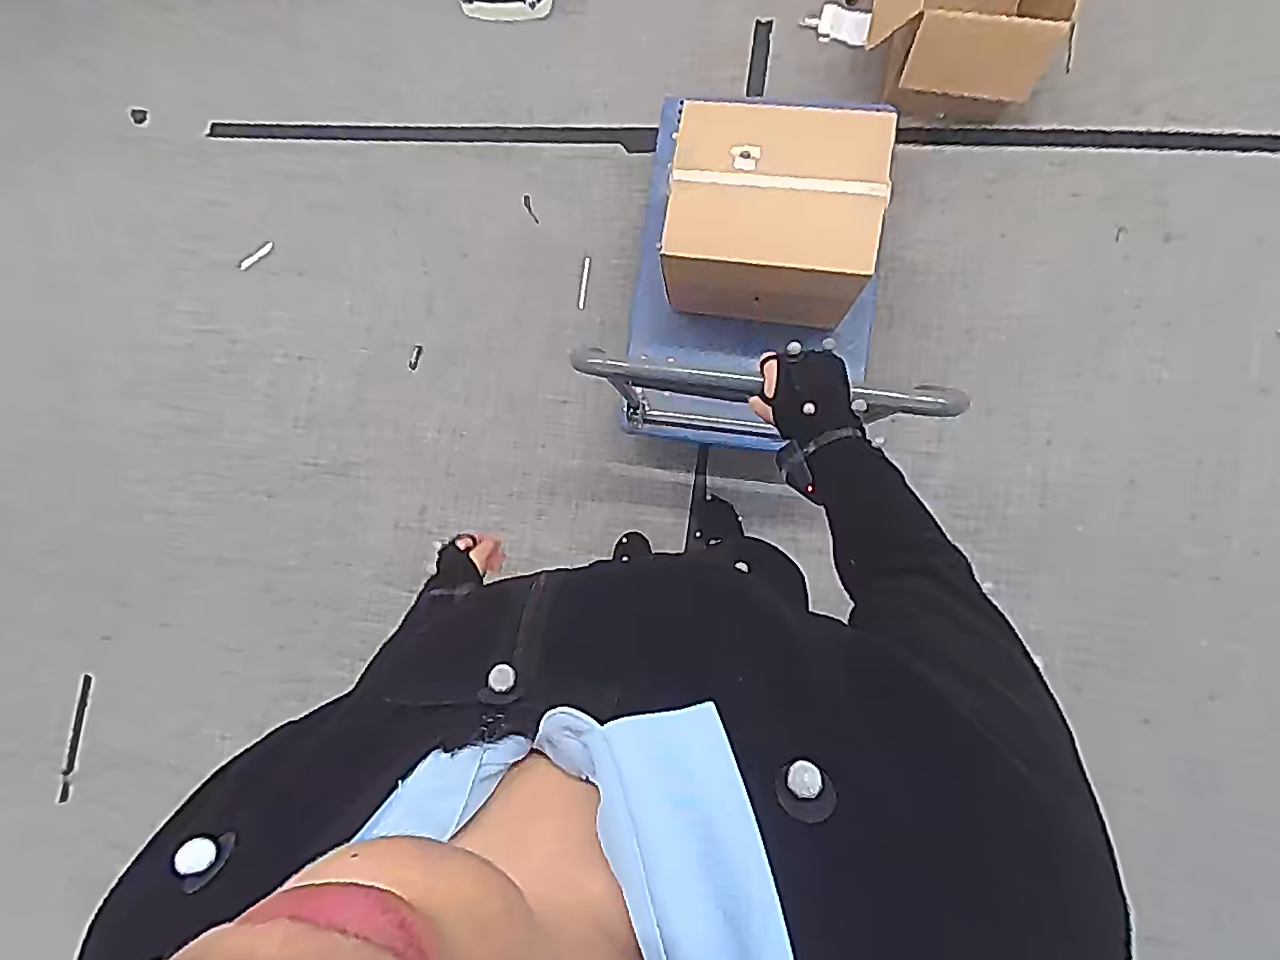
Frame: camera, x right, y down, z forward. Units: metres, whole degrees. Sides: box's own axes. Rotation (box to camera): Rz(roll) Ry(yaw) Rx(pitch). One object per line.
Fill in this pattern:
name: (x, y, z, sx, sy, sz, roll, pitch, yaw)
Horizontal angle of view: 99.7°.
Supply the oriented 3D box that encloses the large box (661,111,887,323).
large box: (0.279, -0.556, 1.194, 0.408, 0.320, 0.320, 8, 87, 9)
